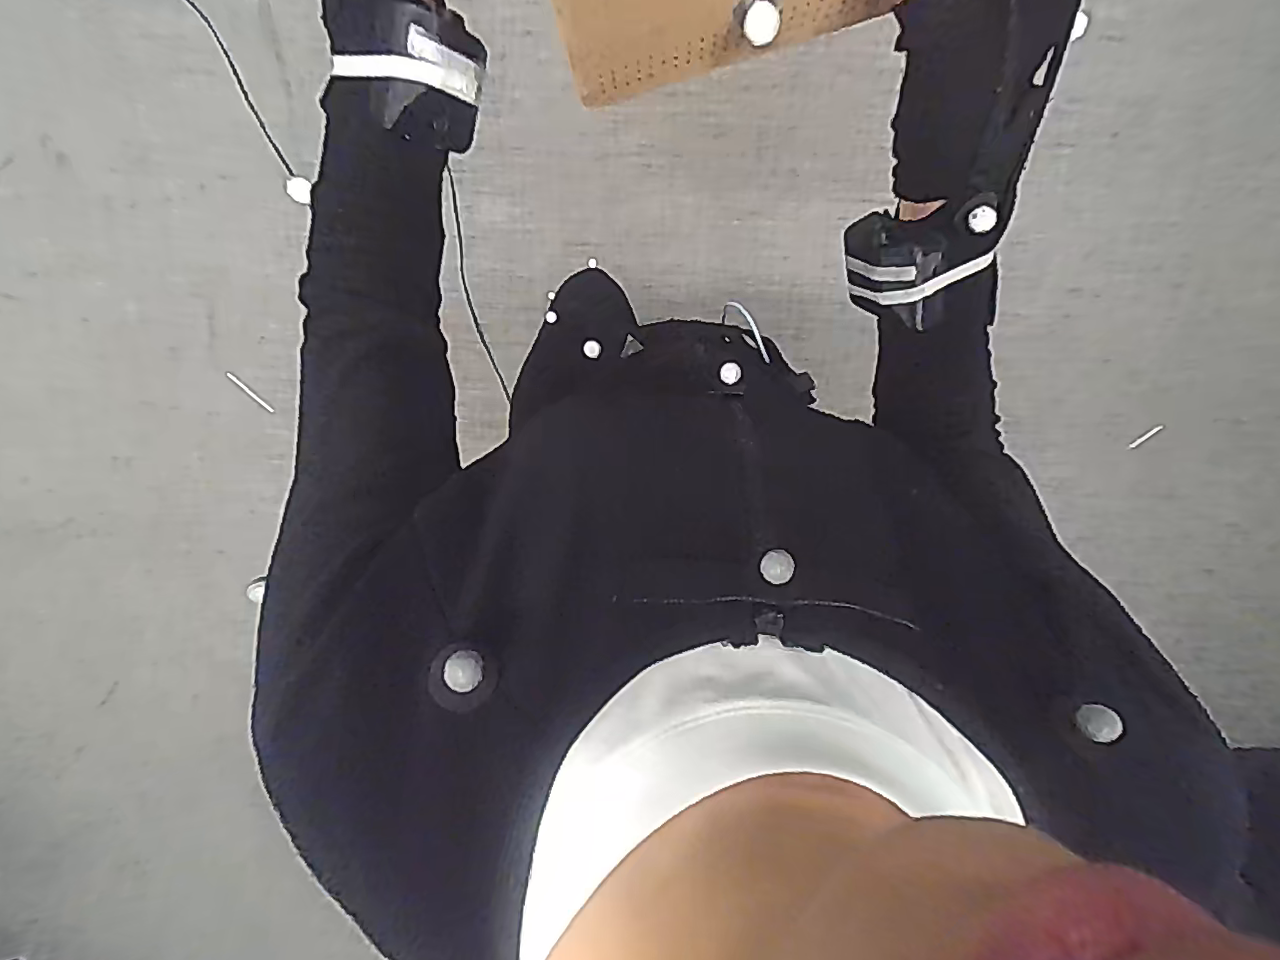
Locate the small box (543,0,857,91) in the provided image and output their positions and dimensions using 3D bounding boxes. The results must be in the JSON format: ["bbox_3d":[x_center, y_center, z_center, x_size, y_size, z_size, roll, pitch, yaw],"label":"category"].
[{"bbox_3d":[0.025,-0.294,0.198,0.179,0.176,0.168,-15,95,4],"label":"small box"}]
